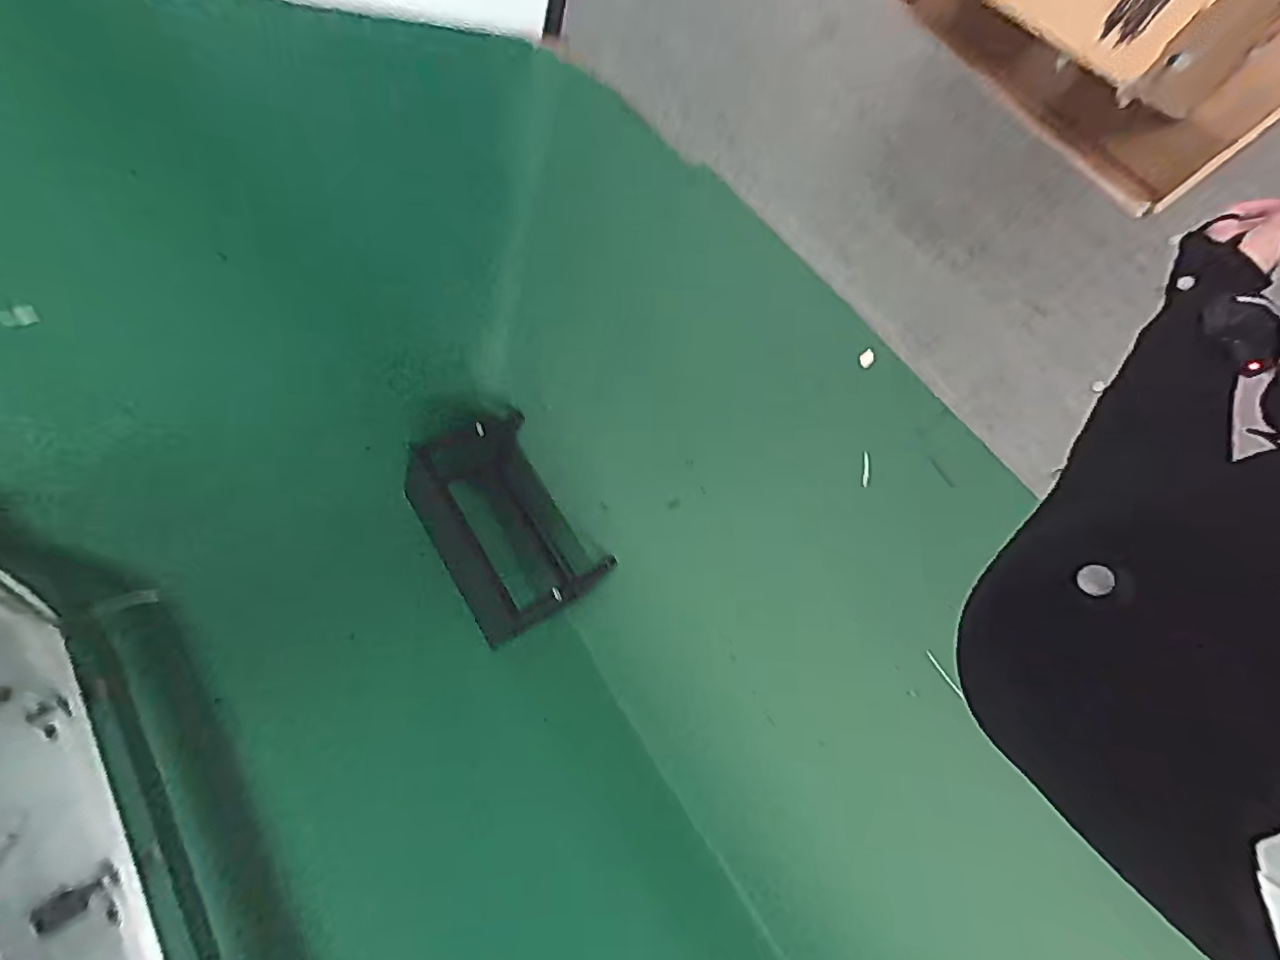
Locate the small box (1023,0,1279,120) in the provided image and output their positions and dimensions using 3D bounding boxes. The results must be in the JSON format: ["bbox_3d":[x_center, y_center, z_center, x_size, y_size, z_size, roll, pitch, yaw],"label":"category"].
[{"bbox_3d":[0.595,-0.538,0.609,0.179,0.176,0.168,54,141,17],"label":"small box"}]
